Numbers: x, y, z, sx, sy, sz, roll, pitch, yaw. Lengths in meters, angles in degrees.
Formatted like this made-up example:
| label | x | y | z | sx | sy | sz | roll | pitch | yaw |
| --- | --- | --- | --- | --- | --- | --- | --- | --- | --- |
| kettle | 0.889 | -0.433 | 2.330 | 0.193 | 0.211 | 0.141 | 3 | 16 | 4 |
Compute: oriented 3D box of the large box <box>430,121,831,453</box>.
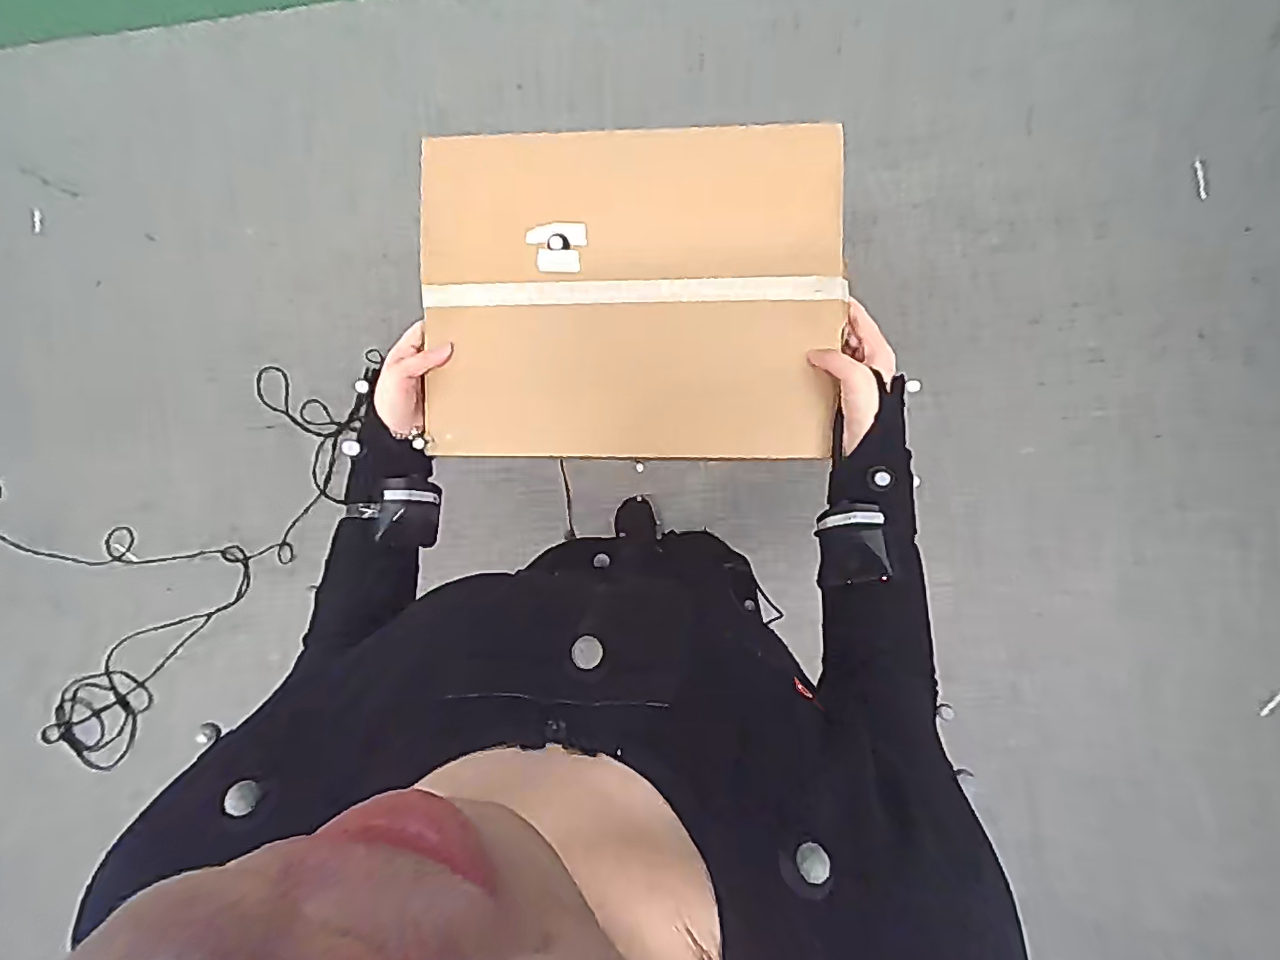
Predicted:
| label | x | y | z | sx | sy | sz | roll | pitch | yaw |
| --- | --- | --- | --- | --- | --- | --- | --- | --- | --- |
| large box | 0.002 | -0.192 | 0.683 | 0.408 | 0.320 | 0.320 | 0 | 92 | 6 |
